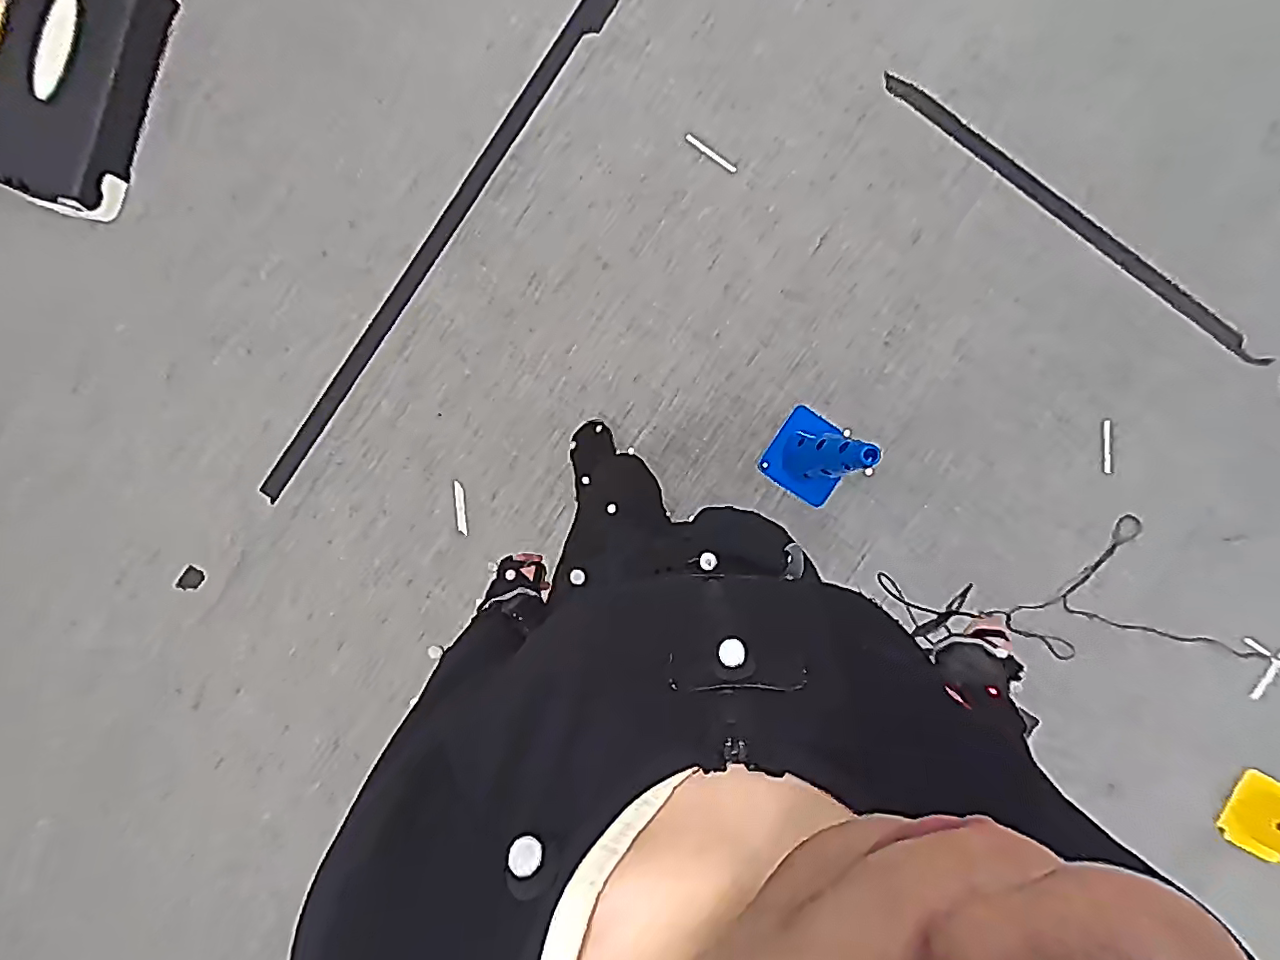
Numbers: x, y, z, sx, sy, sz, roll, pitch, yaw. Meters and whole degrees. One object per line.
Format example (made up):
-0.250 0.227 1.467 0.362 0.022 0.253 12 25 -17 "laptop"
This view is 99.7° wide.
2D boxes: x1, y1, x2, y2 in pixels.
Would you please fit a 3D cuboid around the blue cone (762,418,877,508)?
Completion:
0.429 -0.037 1.194 0.193 0.380 0.192 35 92 -2 "blue cone"
